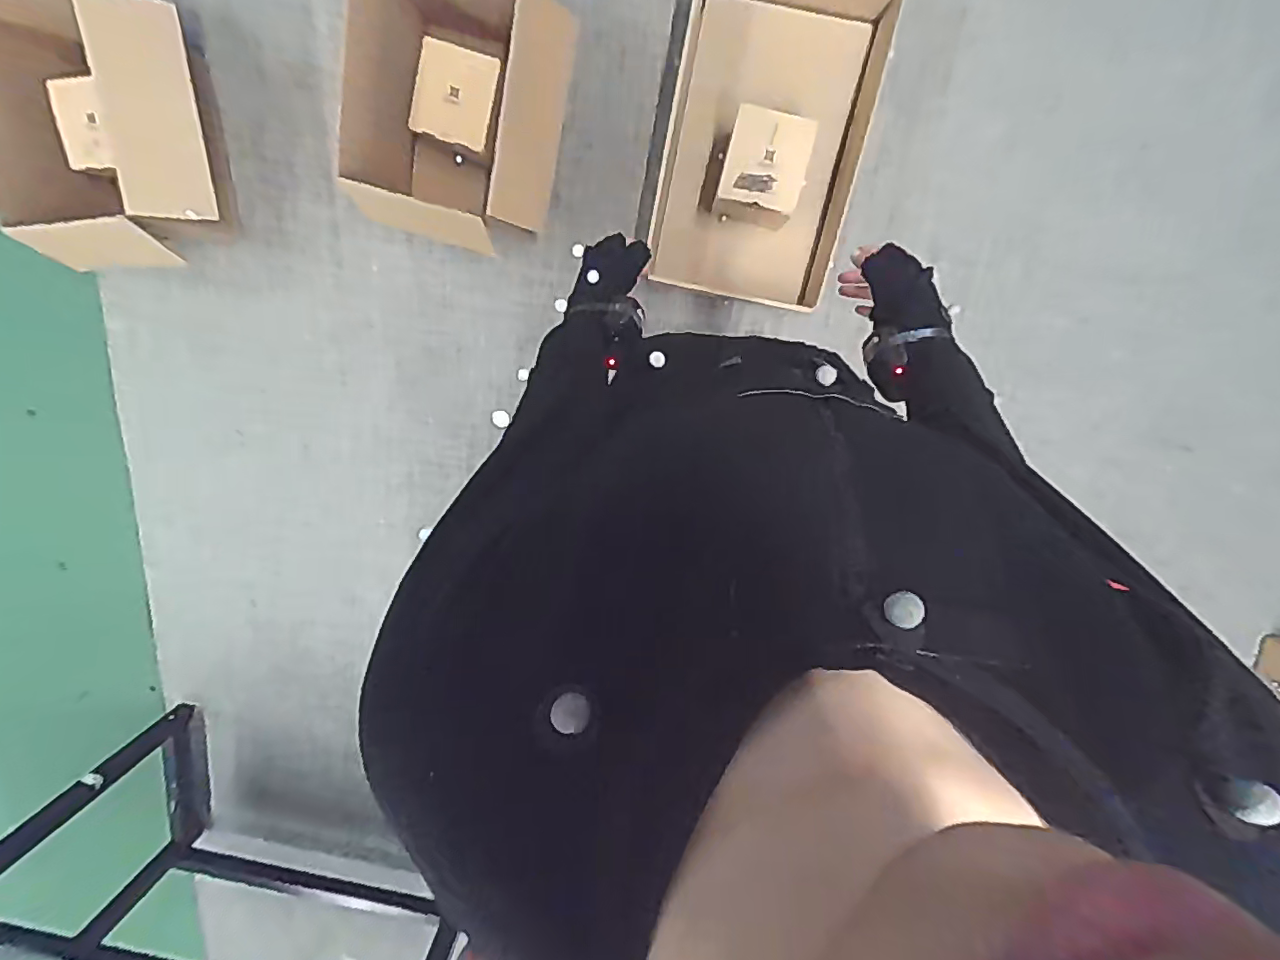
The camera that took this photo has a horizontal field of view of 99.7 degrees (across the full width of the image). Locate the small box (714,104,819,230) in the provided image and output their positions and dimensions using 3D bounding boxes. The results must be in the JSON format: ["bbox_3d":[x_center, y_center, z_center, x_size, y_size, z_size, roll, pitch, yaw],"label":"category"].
[{"bbox_3d":[0.260,-0.658,1.159,0.168,0.176,0.179,14,104,0],"label":"small box"}]
